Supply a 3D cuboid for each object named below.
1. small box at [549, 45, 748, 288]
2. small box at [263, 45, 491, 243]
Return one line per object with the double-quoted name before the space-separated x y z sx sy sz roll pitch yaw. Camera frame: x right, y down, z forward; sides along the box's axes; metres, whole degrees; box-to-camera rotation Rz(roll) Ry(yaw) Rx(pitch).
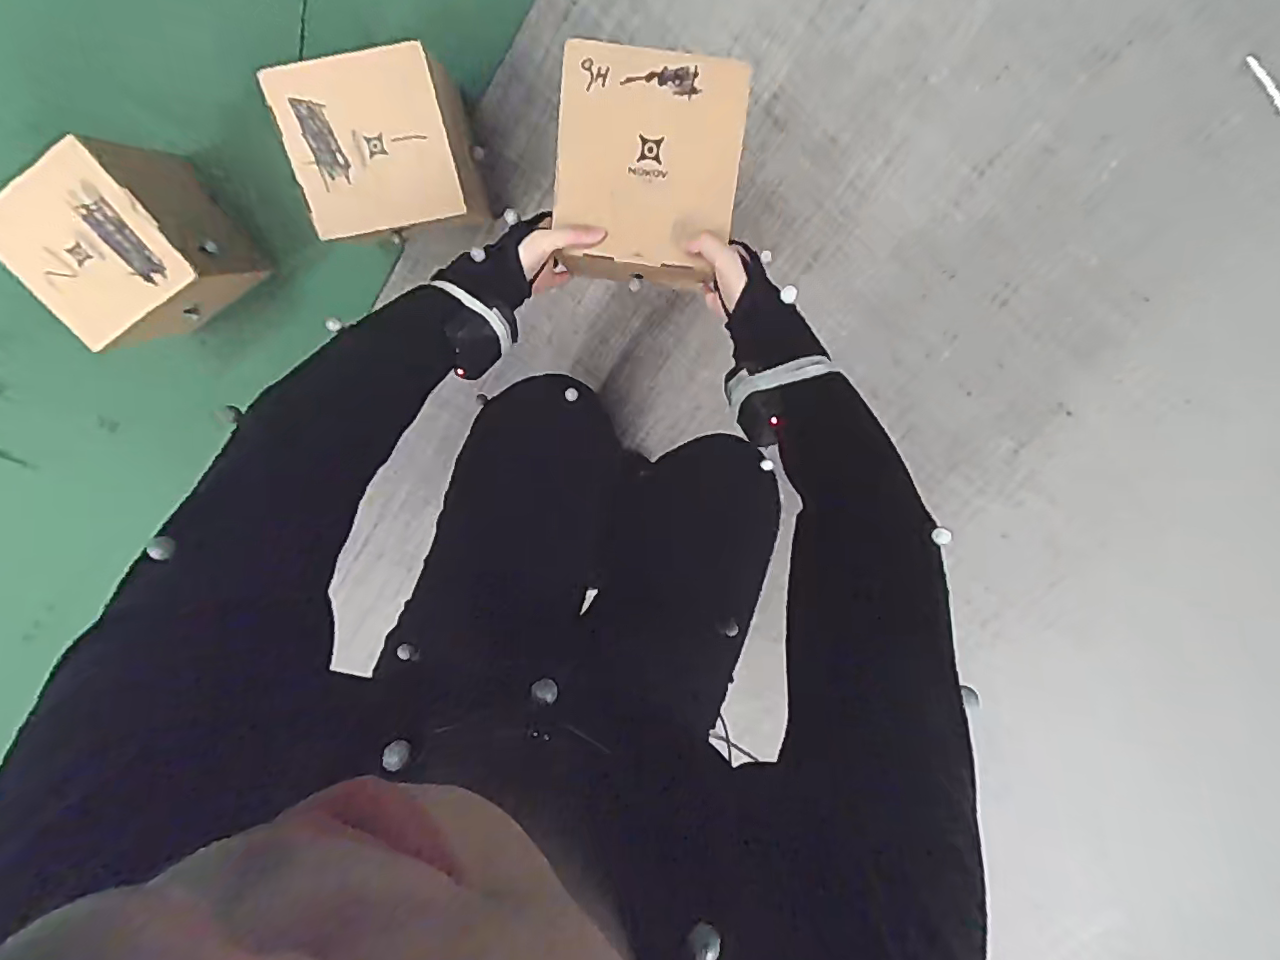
"small box" 0.006 -0.307 0.570 0.168 0.176 0.179 7 104 -1
"small box" -0.300 -0.392 0.663 0.179 0.176 0.168 -11 114 0
